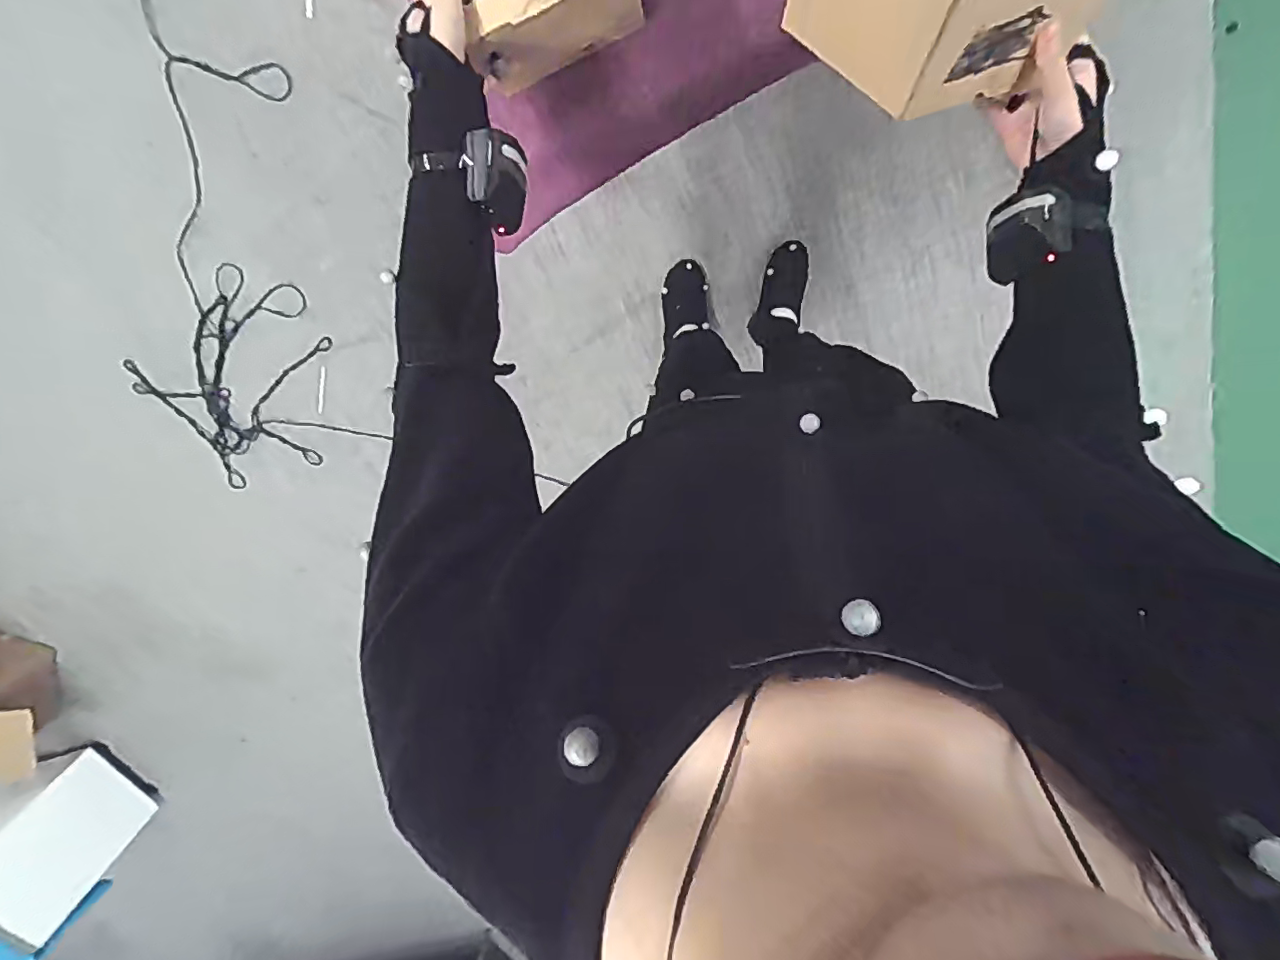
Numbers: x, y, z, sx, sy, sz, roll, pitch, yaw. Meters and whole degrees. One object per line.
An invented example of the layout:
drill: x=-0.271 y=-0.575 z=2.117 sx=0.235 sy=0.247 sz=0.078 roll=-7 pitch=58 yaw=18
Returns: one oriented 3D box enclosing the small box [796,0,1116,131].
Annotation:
small box: x=0.240 y=-0.398 z=0.392 sx=0.168 sy=0.176 sz=0.179 roll=-22 pitch=154 yaw=-17
